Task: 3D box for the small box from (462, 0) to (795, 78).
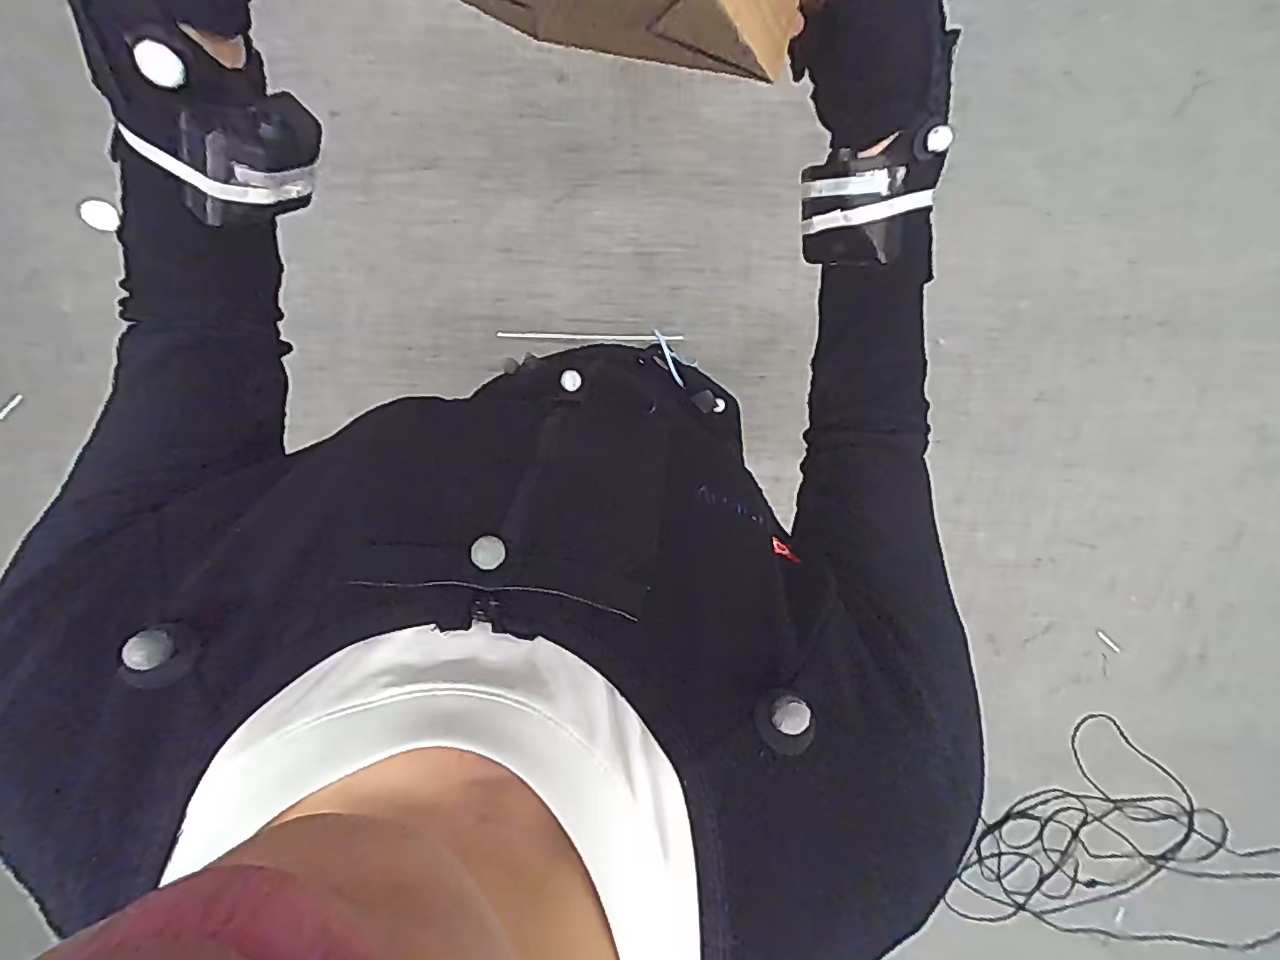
[{"bbox_3d":[-0.006,-0.299,0.236,0.168,0.179,0.176,19,119,13],"label":"small box"}]
